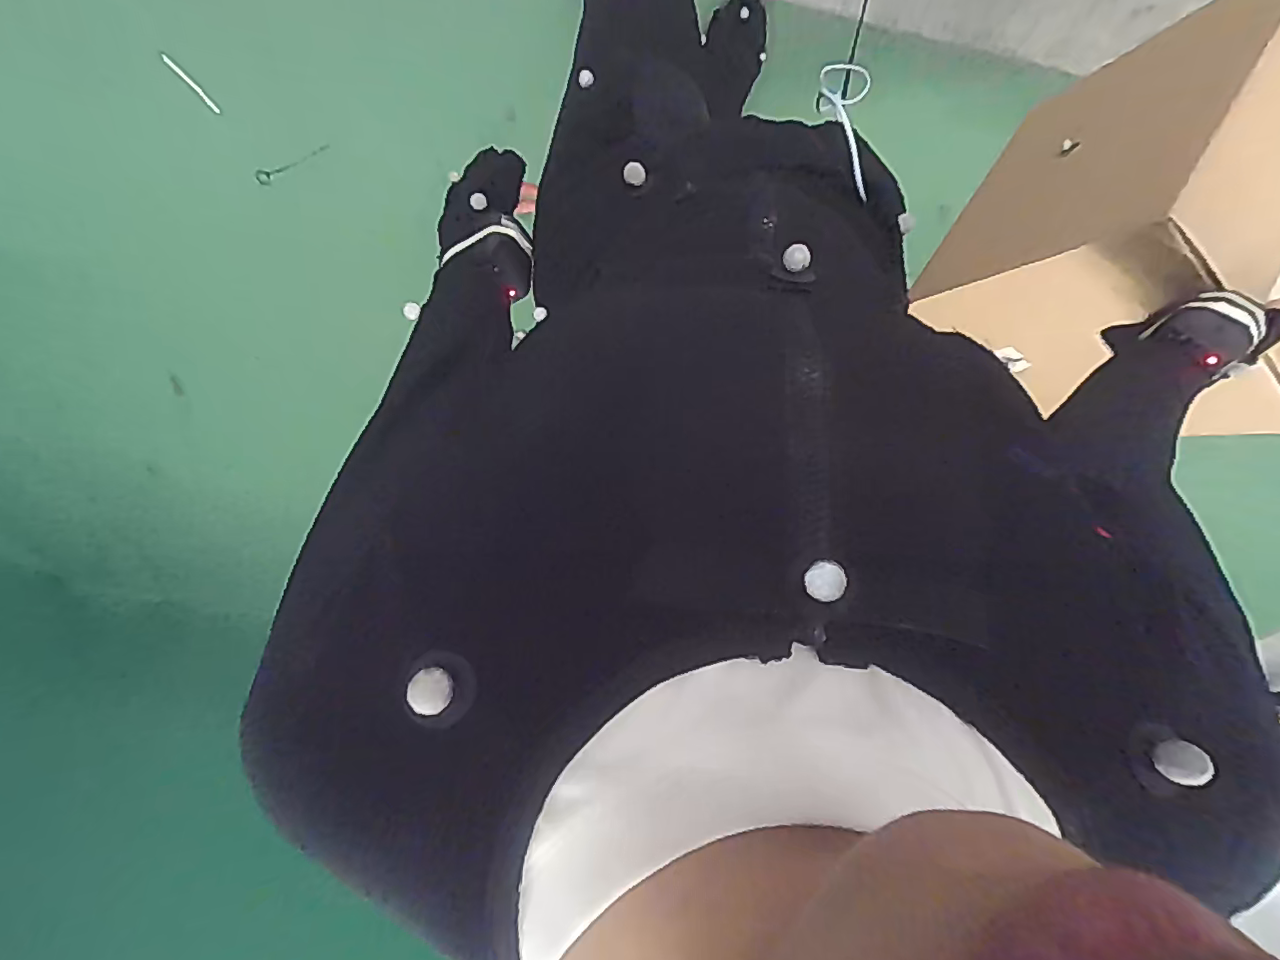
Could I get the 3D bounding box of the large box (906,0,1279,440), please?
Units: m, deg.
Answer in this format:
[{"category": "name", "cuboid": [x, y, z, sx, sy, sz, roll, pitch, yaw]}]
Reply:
[{"category": "large box", "cuboid": [0.640, -0.303, 0.699, 0.320, 0.408, 0.320, 38, 170, -16]}]
